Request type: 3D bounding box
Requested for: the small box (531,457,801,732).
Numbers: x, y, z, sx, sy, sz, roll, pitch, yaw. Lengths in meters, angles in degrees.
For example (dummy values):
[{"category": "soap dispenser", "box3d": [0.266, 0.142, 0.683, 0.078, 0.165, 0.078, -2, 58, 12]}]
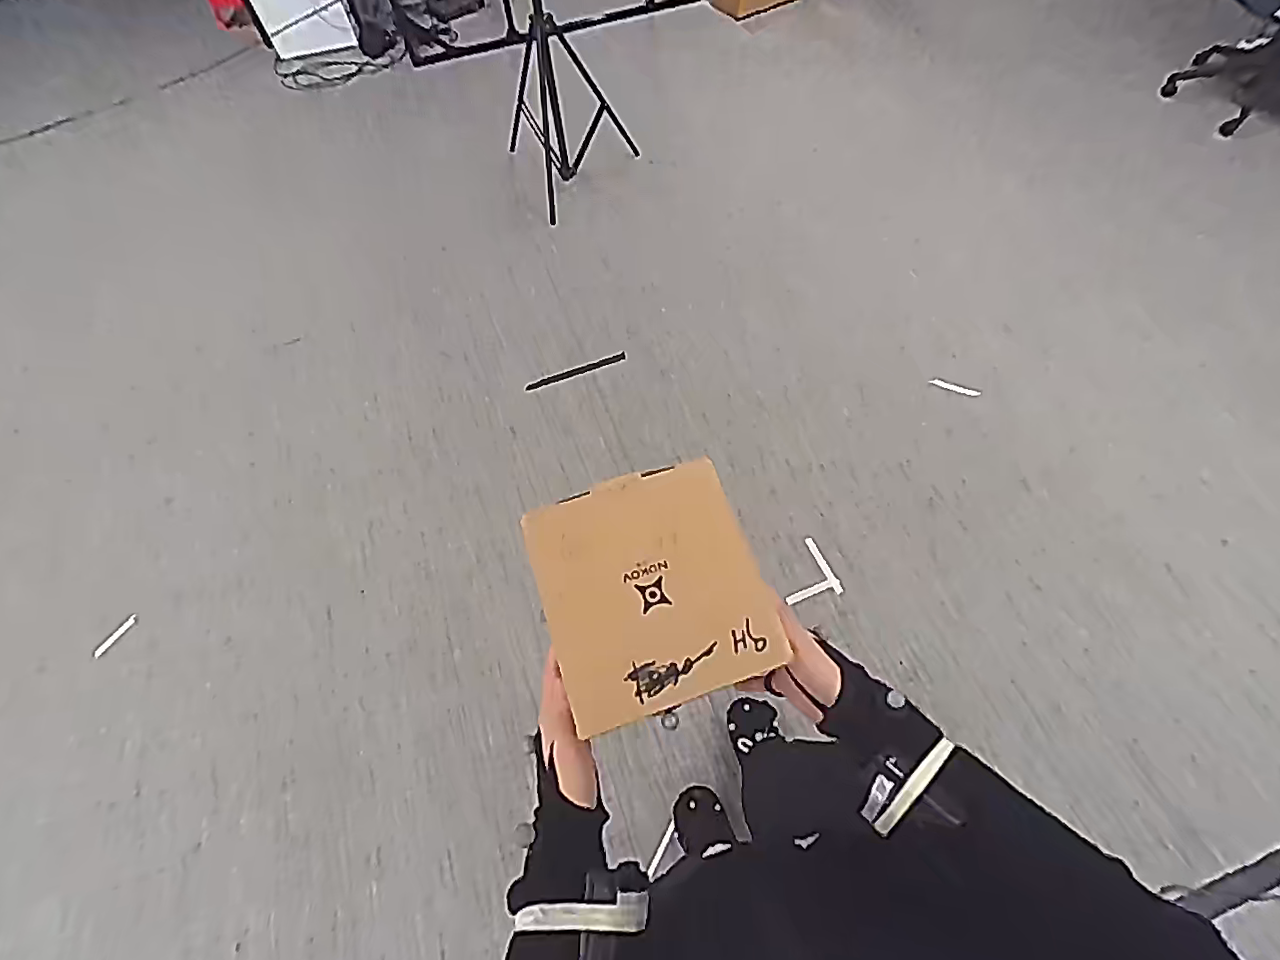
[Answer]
[{"category": "small box", "box3d": [0.013, 0.109, 0.484, 0.168, 0.176, 0.179, -17, 68, -7]}]
